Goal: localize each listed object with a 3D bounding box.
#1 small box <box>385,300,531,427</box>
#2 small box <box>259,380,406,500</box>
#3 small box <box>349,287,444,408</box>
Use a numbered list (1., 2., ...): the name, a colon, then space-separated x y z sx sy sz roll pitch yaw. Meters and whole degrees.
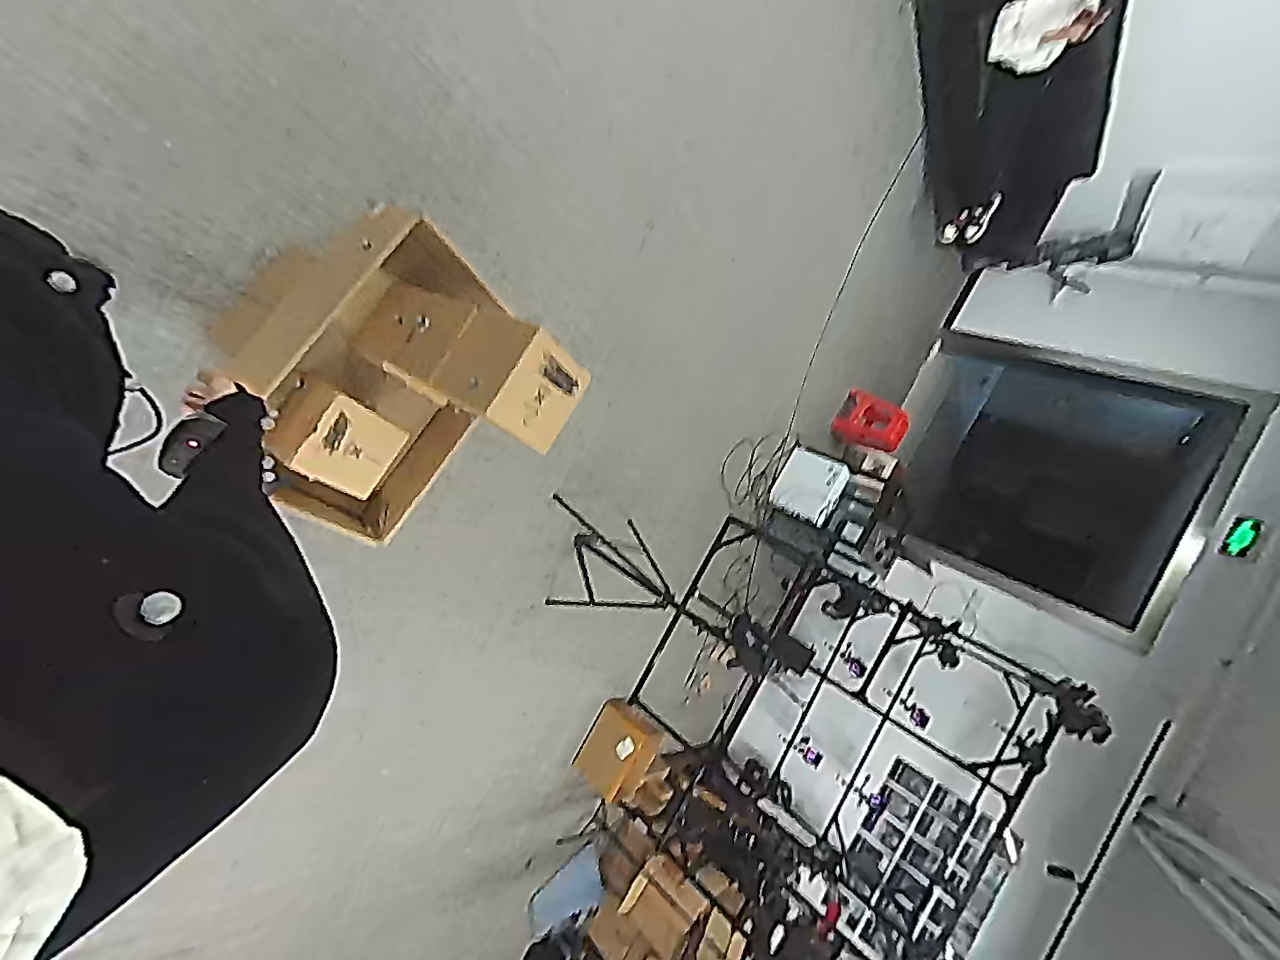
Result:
1. small box: -0.361 -0.235 1.077 0.168 0.176 0.179 -60 146 -5
2. small box: -0.634 -0.088 1.111 0.168 0.176 0.179 -58 146 -7
3. small box: -0.486 -0.290 1.167 0.179 0.176 0.168 -58 145 -6
